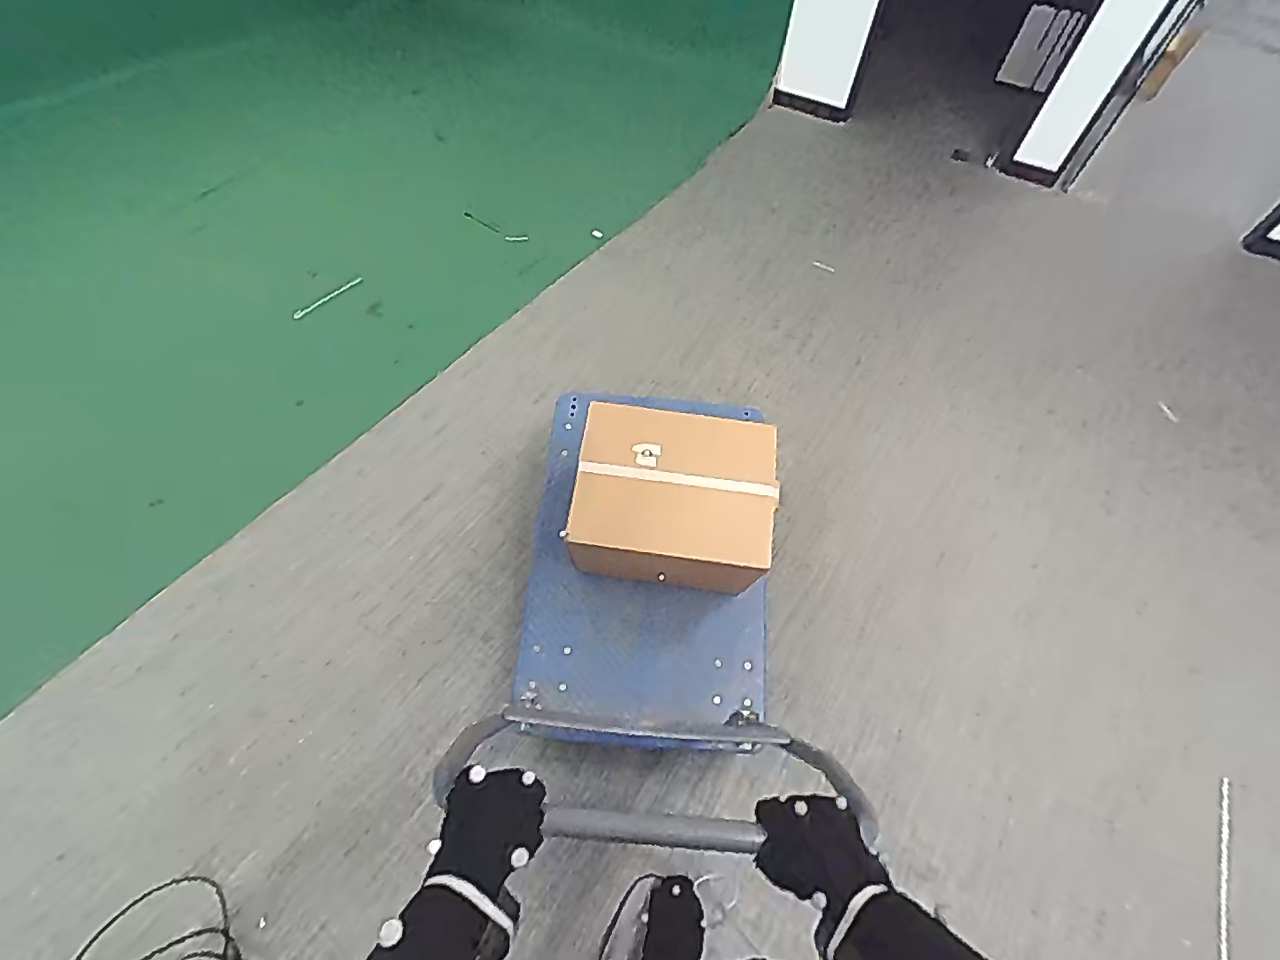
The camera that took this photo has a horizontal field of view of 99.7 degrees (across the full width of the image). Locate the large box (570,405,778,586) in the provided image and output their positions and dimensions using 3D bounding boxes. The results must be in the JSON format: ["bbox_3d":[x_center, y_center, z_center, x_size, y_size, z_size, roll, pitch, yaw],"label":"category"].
[{"bbox_3d":[0.079,0.051,1.231,0.408,0.320,0.320,7,69,3],"label":"large box"}]
